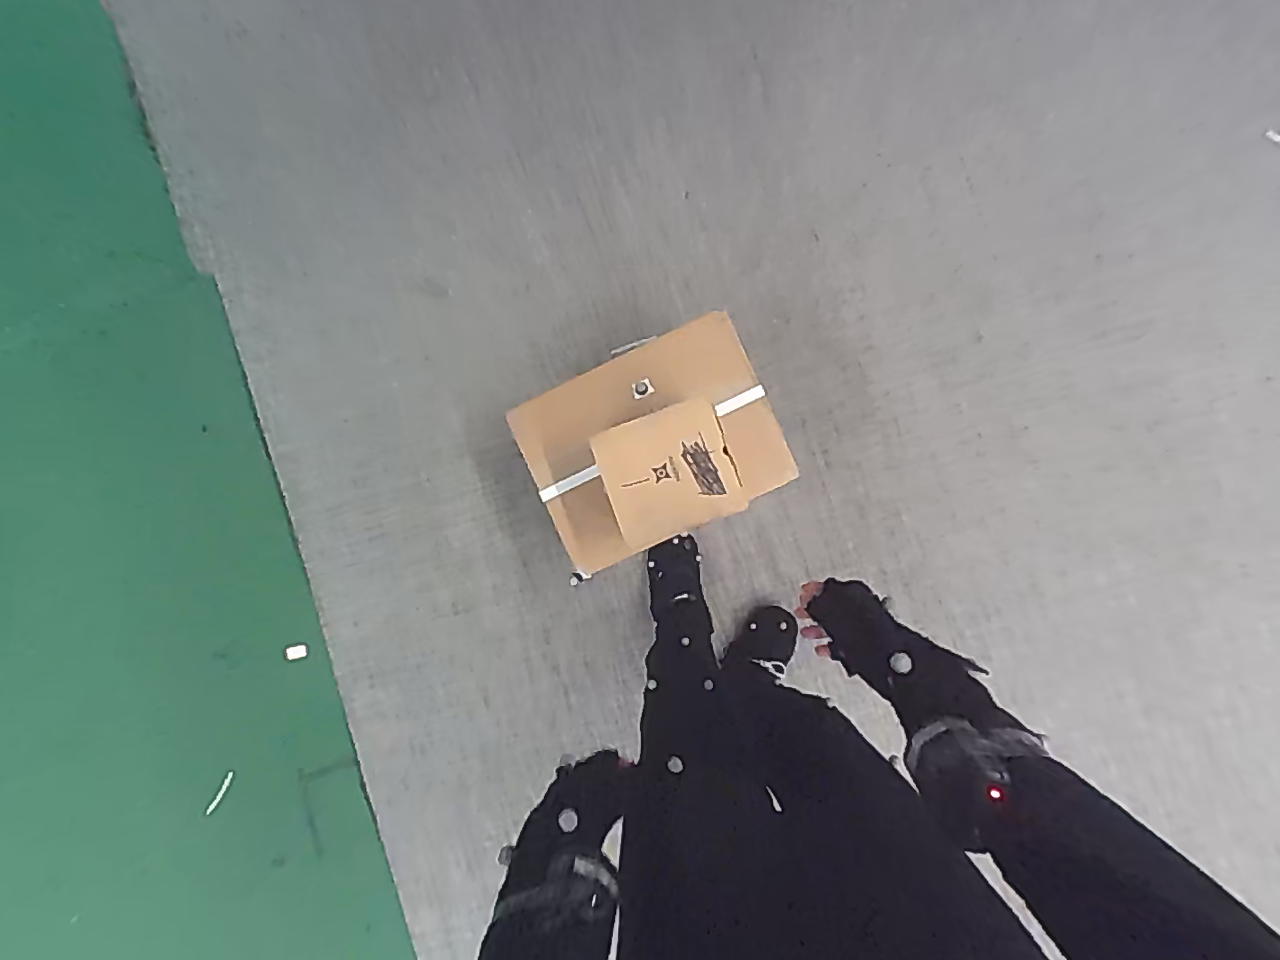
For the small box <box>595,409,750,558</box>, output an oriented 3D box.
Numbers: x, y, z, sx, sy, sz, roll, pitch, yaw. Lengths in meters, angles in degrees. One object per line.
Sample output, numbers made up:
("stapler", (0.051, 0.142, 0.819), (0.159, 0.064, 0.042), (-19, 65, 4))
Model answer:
("small box", (0.047, 0.004, 0.816), (0.179, 0.176, 0.168), (-20, 88, 4))
